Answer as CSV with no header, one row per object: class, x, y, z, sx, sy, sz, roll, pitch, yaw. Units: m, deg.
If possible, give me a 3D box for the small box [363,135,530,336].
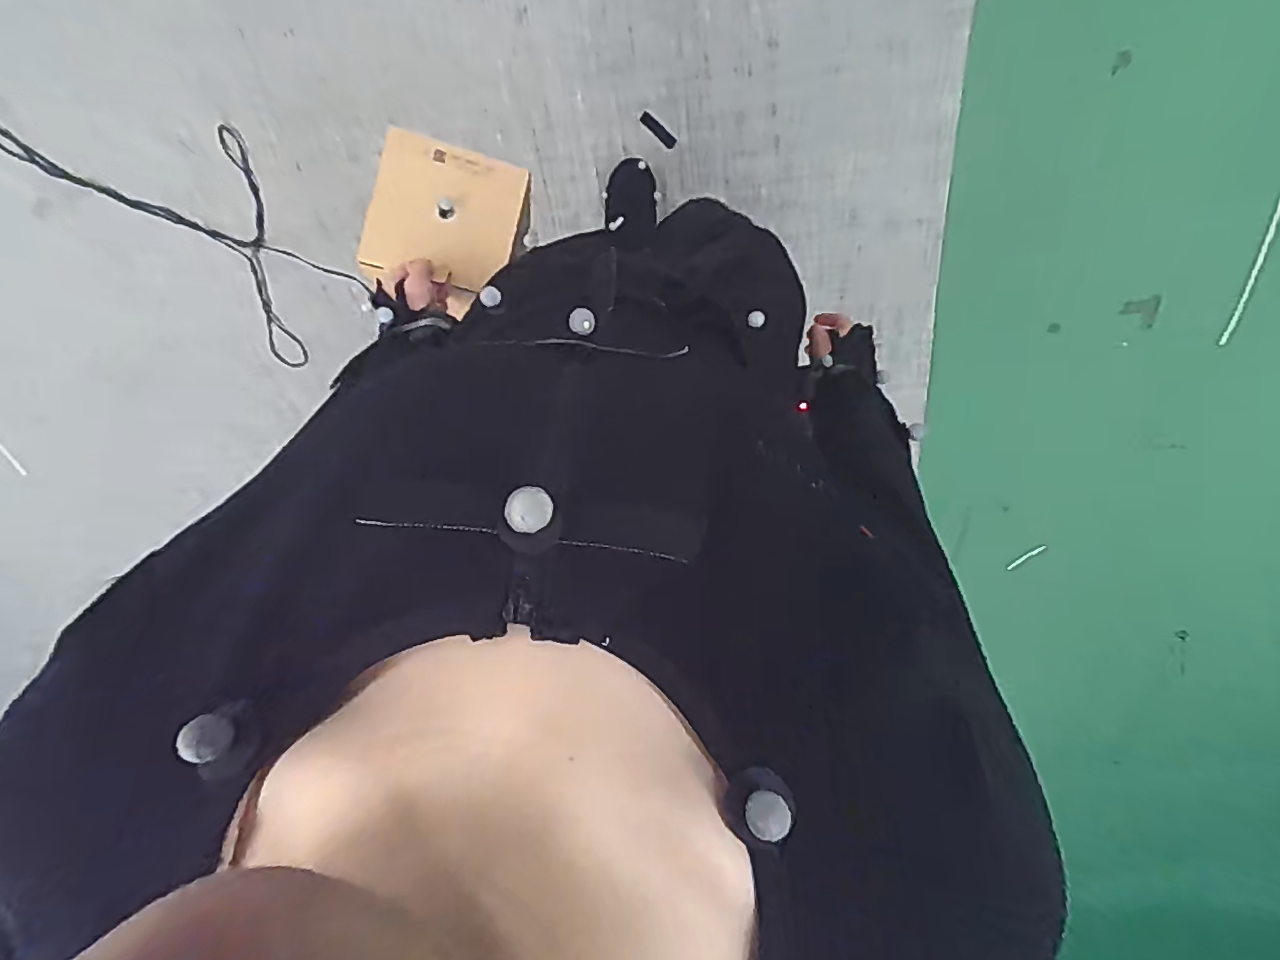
small box,-0.246,-0.314,0.721,0.168,0.179,0.176,12,88,-11
